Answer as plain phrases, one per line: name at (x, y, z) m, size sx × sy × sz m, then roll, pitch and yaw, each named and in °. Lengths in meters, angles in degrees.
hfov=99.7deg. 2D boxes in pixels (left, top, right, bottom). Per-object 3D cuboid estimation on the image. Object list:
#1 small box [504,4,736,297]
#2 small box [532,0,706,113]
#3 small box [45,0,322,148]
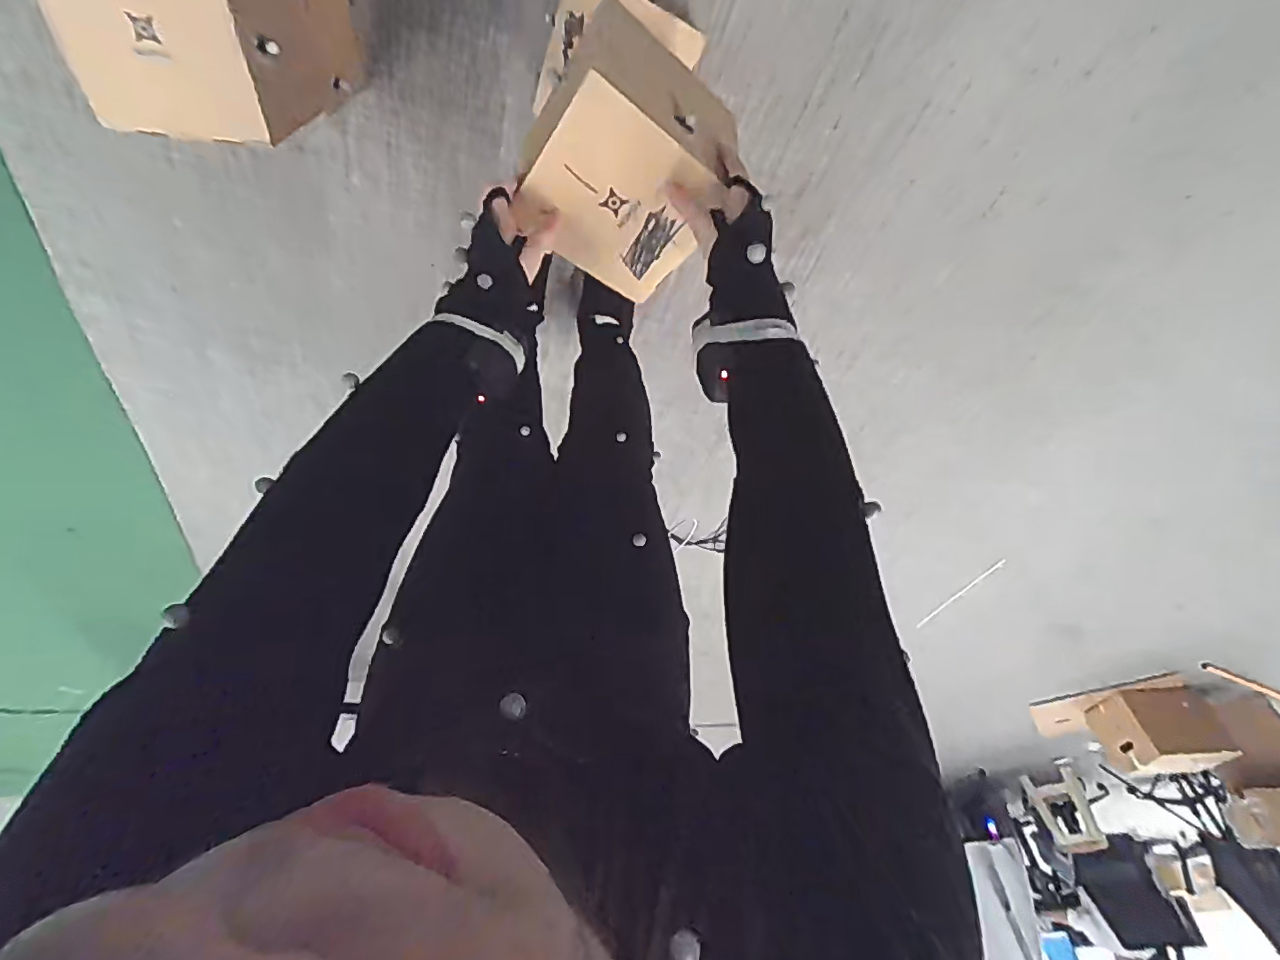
small box at (-0.017, -0.342, 0.574) m, size 0.179 × 0.176 × 0.168 m, roll 24°, pitch 143°, yaw -29°
small box at (-0.034, -0.569, 0.736) m, size 0.179 × 0.176 × 0.168 m, roll 16°, pitch 133°, yaw -20°
small box at (-0.462, -0.479, 0.563) m, size 0.168 × 0.176 × 0.179 m, roll 3°, pitch 136°, yaw -8°
